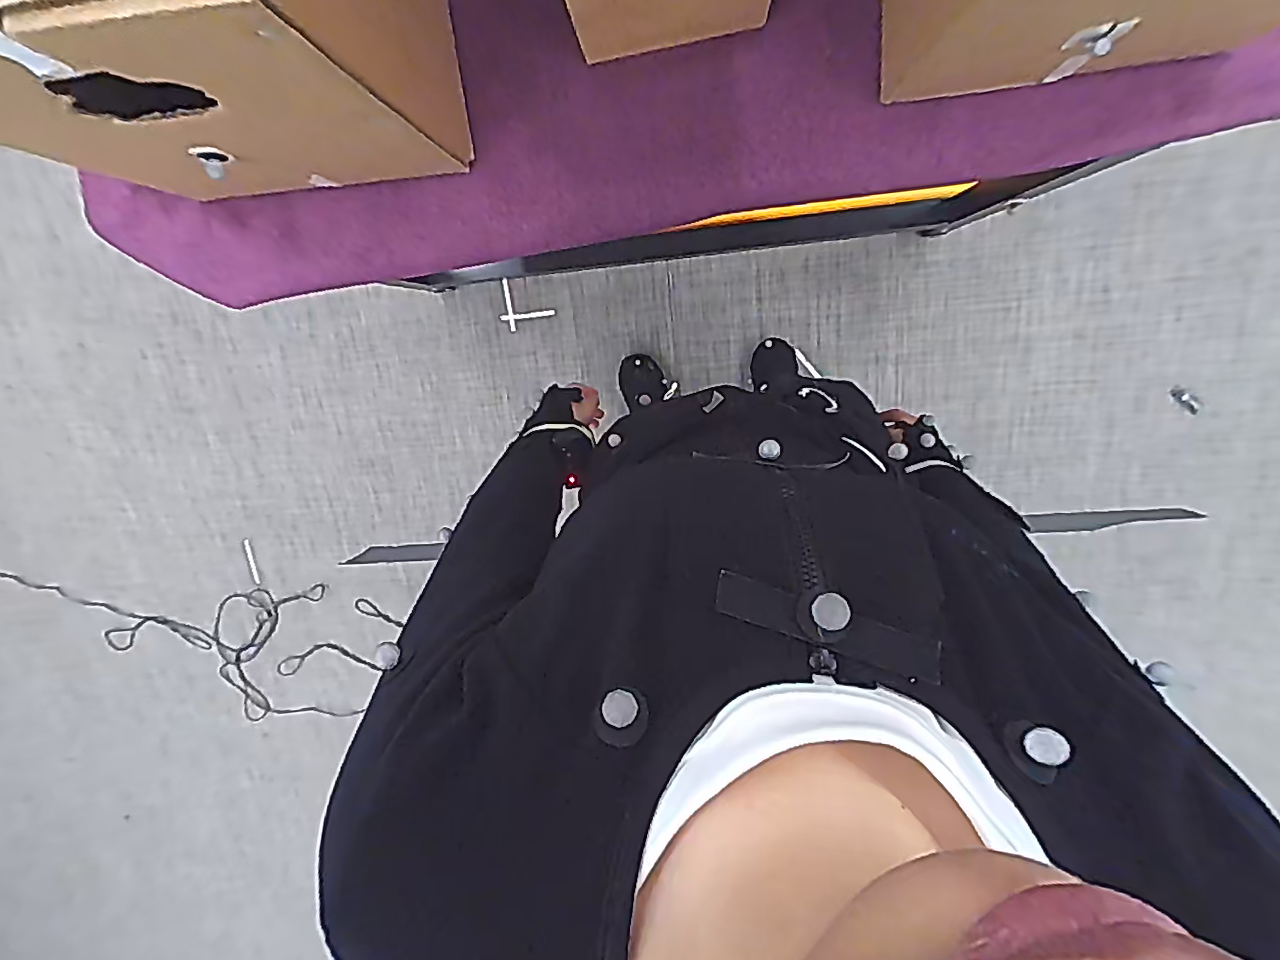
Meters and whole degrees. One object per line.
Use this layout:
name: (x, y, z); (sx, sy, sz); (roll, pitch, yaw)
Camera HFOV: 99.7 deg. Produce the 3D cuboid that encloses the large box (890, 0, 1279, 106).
large box: (0.348, -0.518, 0.303); (0.320, 0.320, 0.408); (-5, 103, 6)
